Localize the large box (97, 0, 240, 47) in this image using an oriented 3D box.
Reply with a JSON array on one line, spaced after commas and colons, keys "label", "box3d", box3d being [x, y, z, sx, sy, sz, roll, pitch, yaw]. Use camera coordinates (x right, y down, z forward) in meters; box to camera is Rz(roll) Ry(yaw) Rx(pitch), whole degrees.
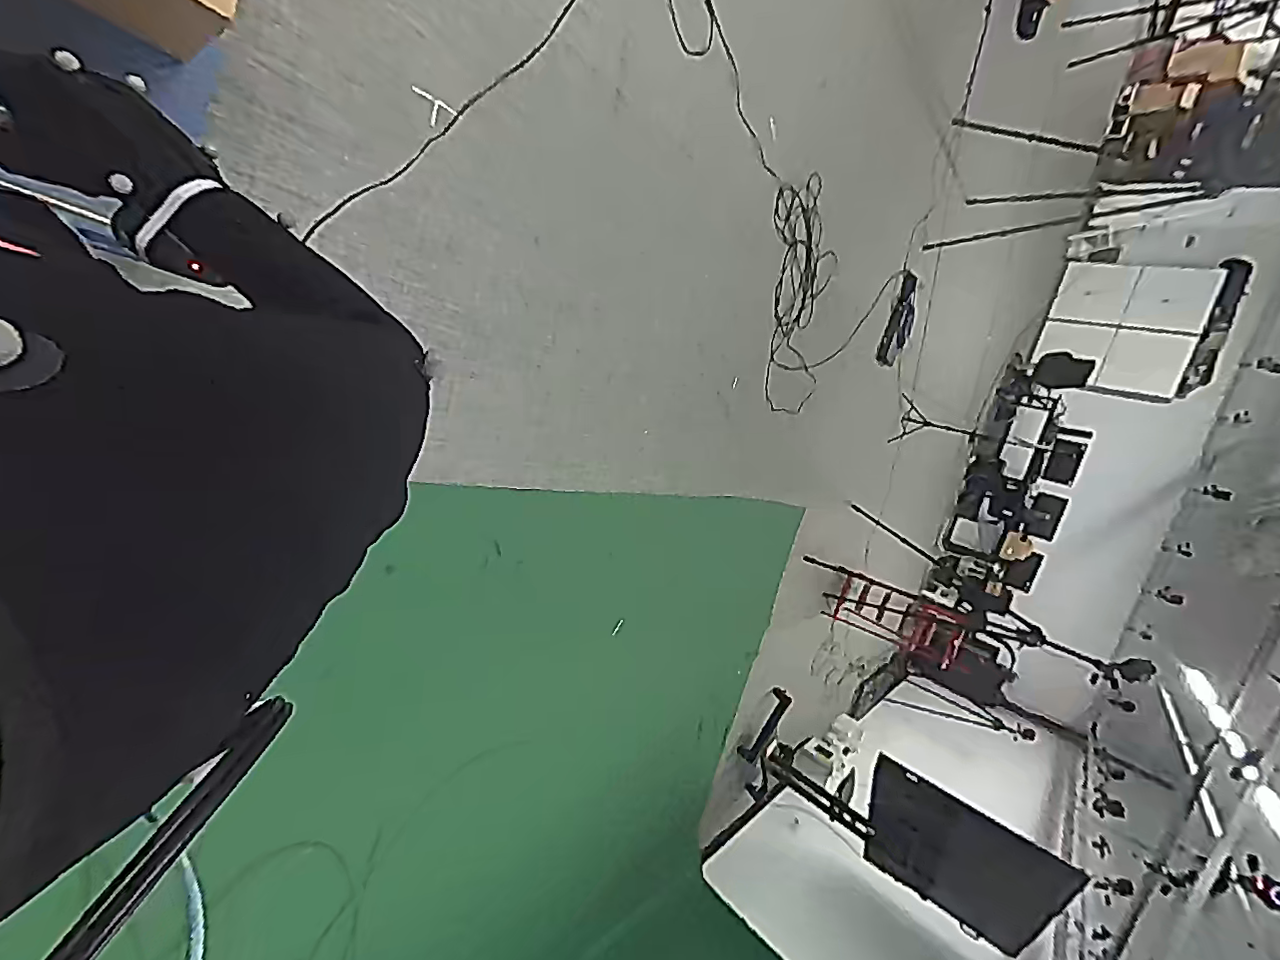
[{"label": "large box", "box3d": [-0.731, -0.827, 0.645, 0.408, 0.320, 0.320, 6, 103, -49]}]
